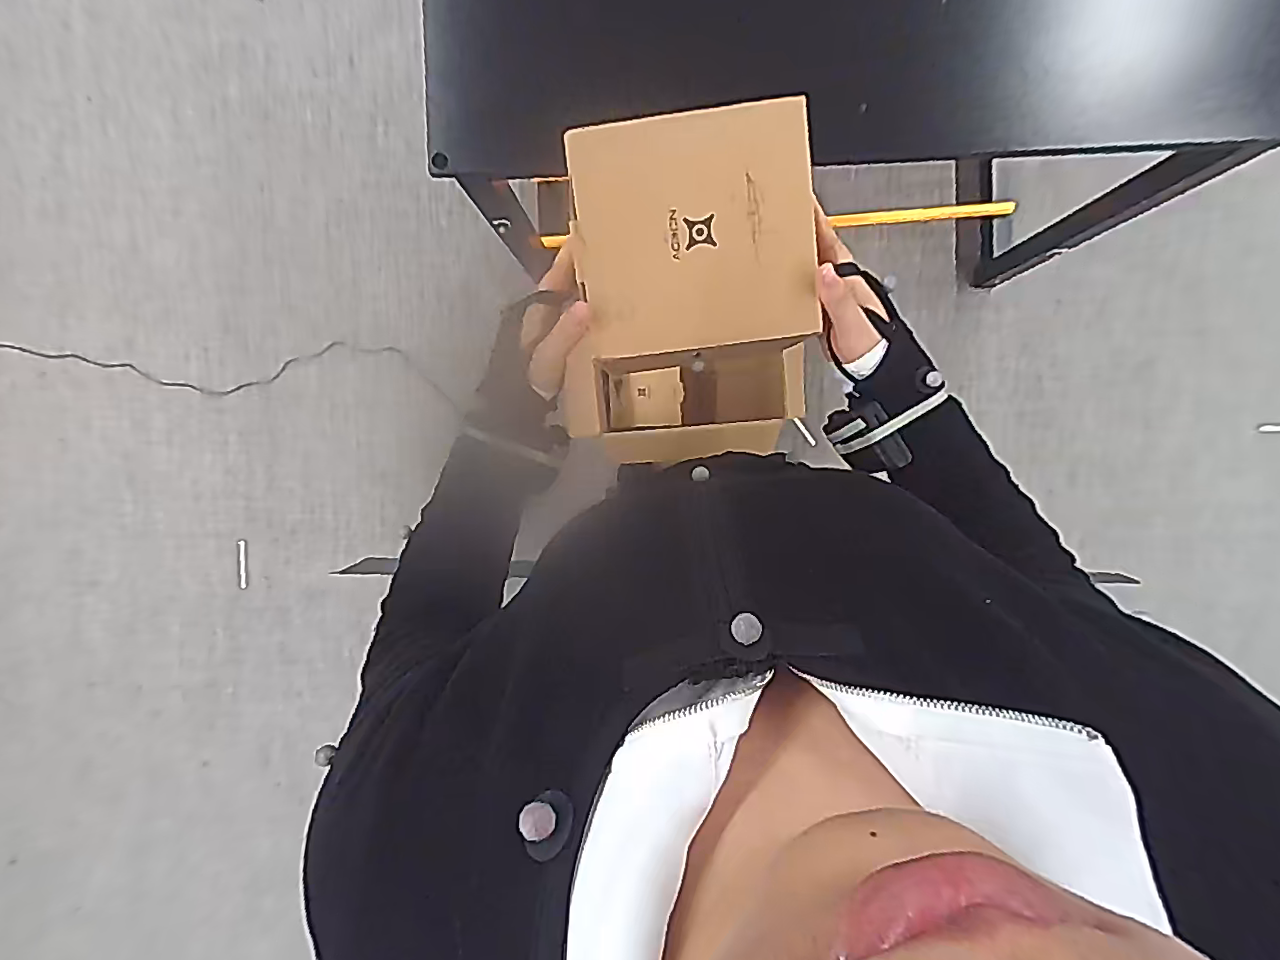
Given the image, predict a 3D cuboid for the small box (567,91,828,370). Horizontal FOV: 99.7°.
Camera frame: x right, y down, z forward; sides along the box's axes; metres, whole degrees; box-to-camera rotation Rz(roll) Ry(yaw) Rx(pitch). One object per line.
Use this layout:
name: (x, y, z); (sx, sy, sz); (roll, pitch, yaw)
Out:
small box: (0.046, -0.191, 0.469); (0.179, 0.176, 0.168); (-7, 98, 3)
